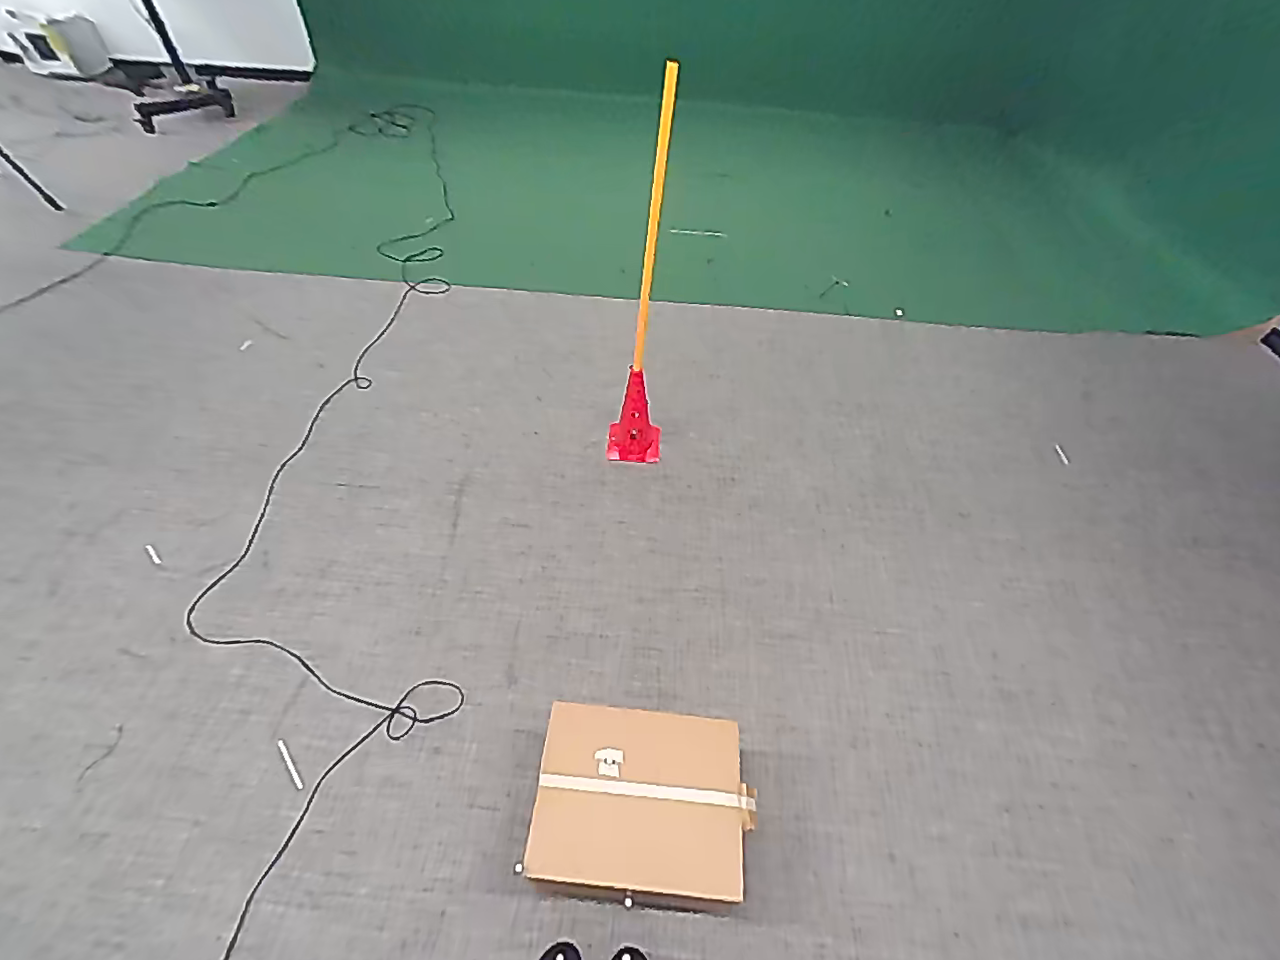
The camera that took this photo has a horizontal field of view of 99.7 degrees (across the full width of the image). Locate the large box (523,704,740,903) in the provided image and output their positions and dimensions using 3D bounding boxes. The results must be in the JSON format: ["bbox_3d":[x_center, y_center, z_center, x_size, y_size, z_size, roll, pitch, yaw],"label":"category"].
[{"bbox_3d":[-0.008,0.716,1.188,0.408,0.320,0.320,6,49,2],"label":"large box"}]
